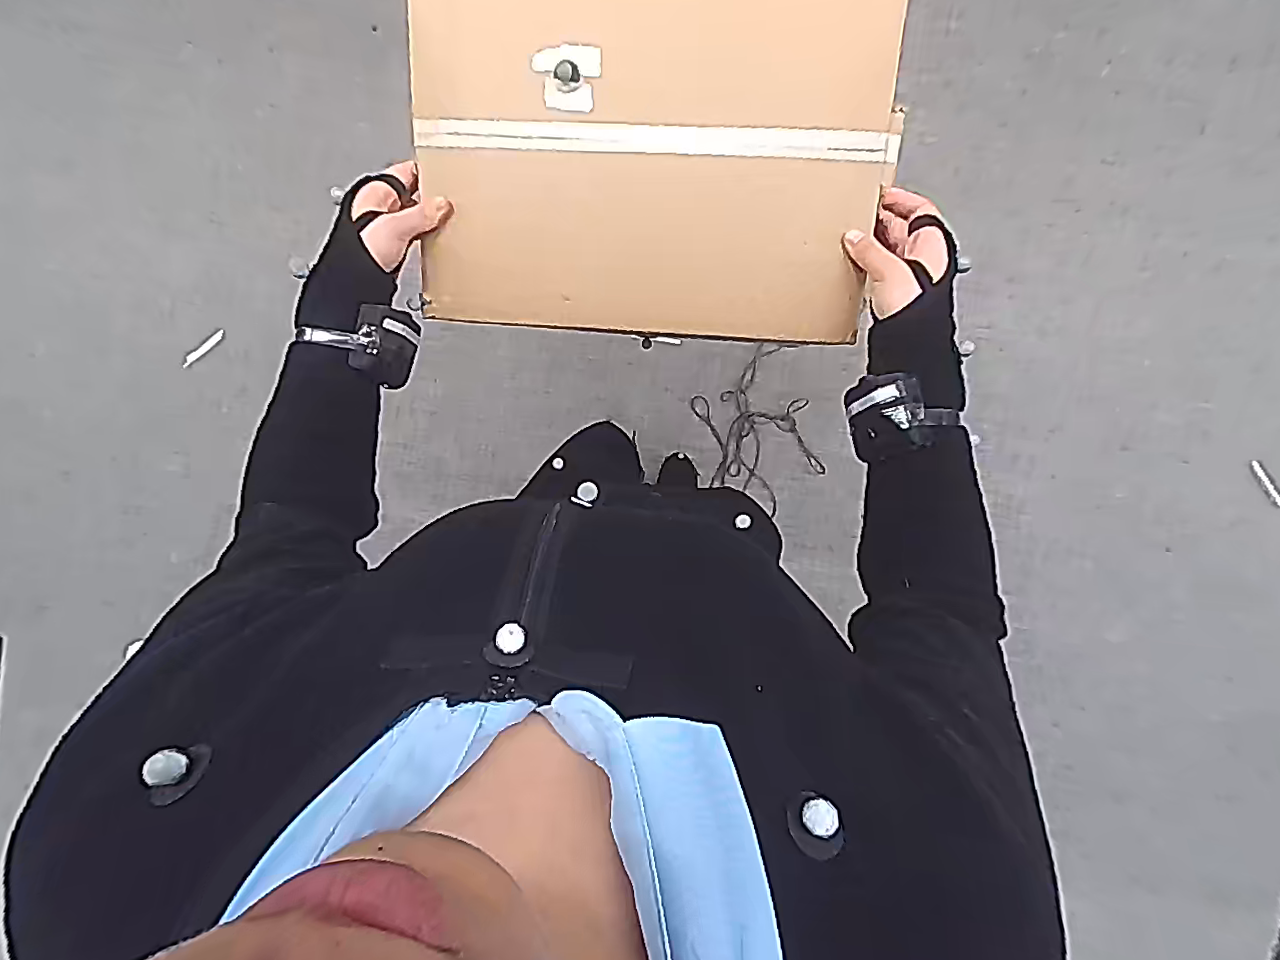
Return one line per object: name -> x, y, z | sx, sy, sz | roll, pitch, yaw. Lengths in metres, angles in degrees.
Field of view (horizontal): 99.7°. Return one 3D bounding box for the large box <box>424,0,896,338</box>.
large box -> 0.022, -0.329, 0.621 | 0.408, 0.320, 0.320 | 5, 103, 5
